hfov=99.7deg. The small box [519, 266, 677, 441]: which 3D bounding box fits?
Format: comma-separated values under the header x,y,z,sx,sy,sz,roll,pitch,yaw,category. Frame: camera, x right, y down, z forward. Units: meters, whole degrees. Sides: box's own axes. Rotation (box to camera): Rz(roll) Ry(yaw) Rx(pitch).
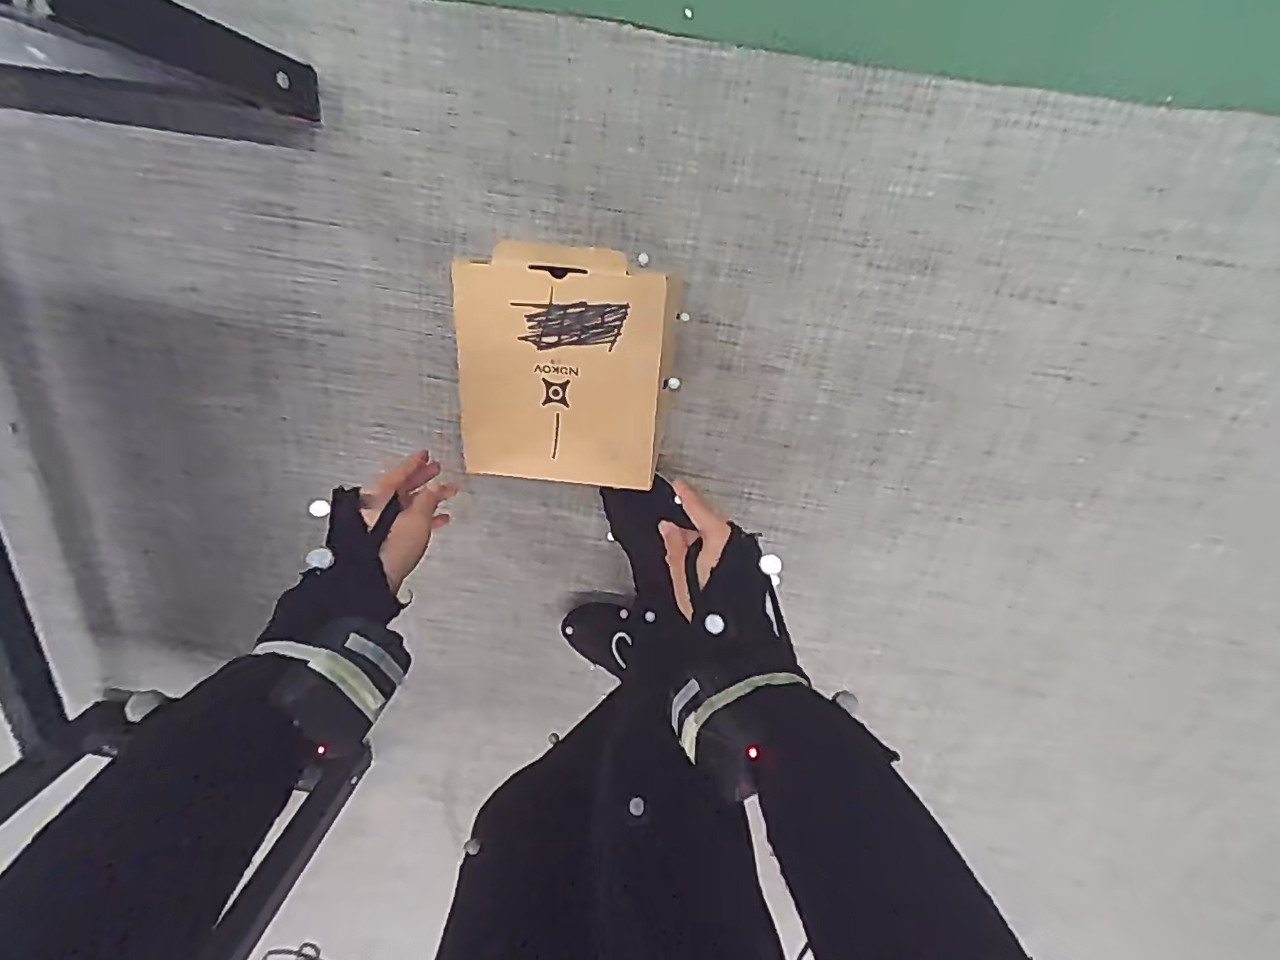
x,y,z,sx,sy,sz,roll,pitch,yaw,category
-0.044,-0.161,0.660,0.168,0.176,0.179,6,113,4,small box
